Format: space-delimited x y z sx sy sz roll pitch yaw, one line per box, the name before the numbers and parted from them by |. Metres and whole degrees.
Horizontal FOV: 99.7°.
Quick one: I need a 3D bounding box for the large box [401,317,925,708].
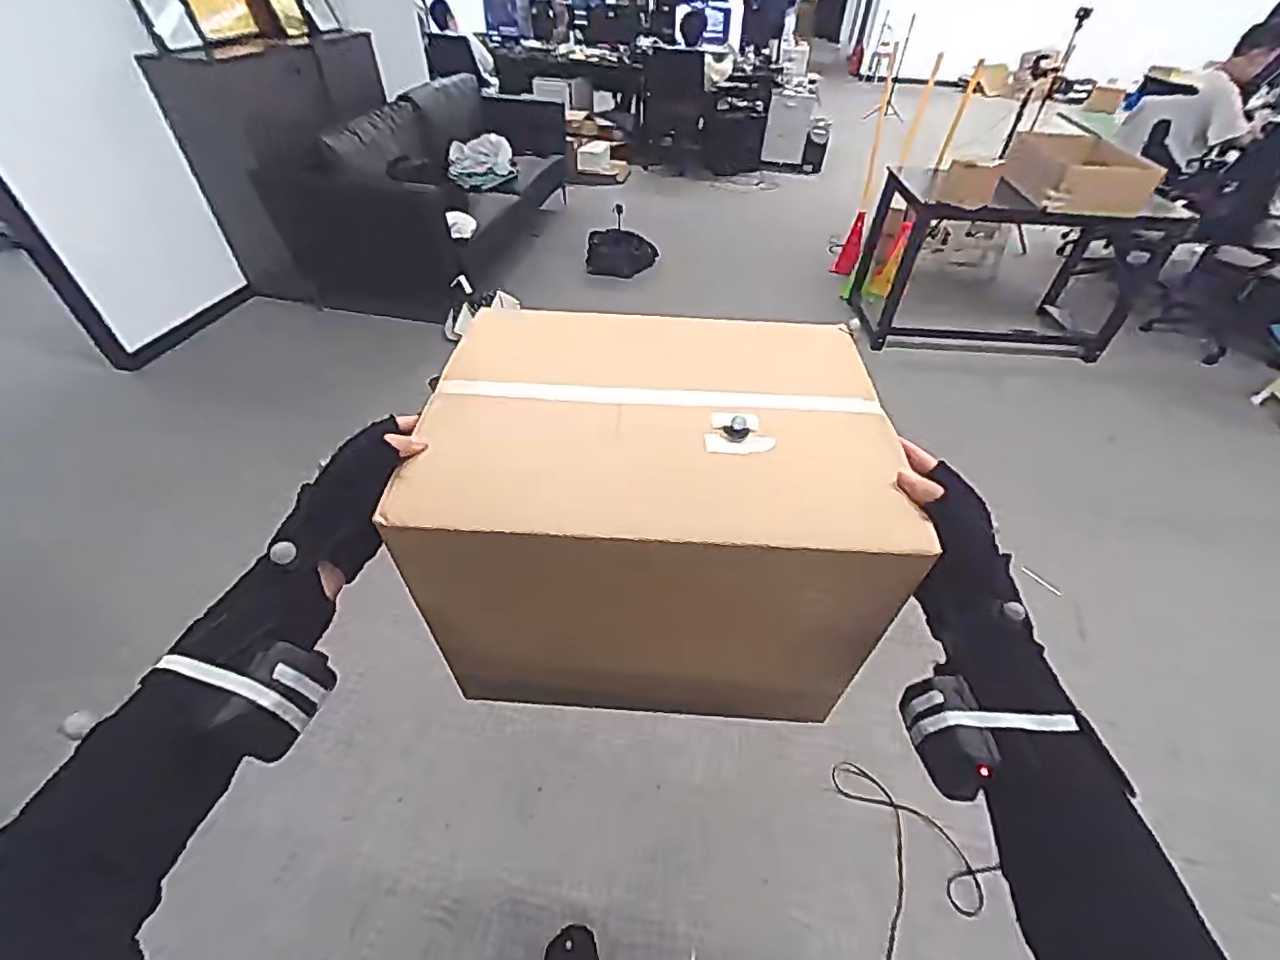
large box | 0.015 0.038 0.611 0.408 0.320 0.320 4 46 0
